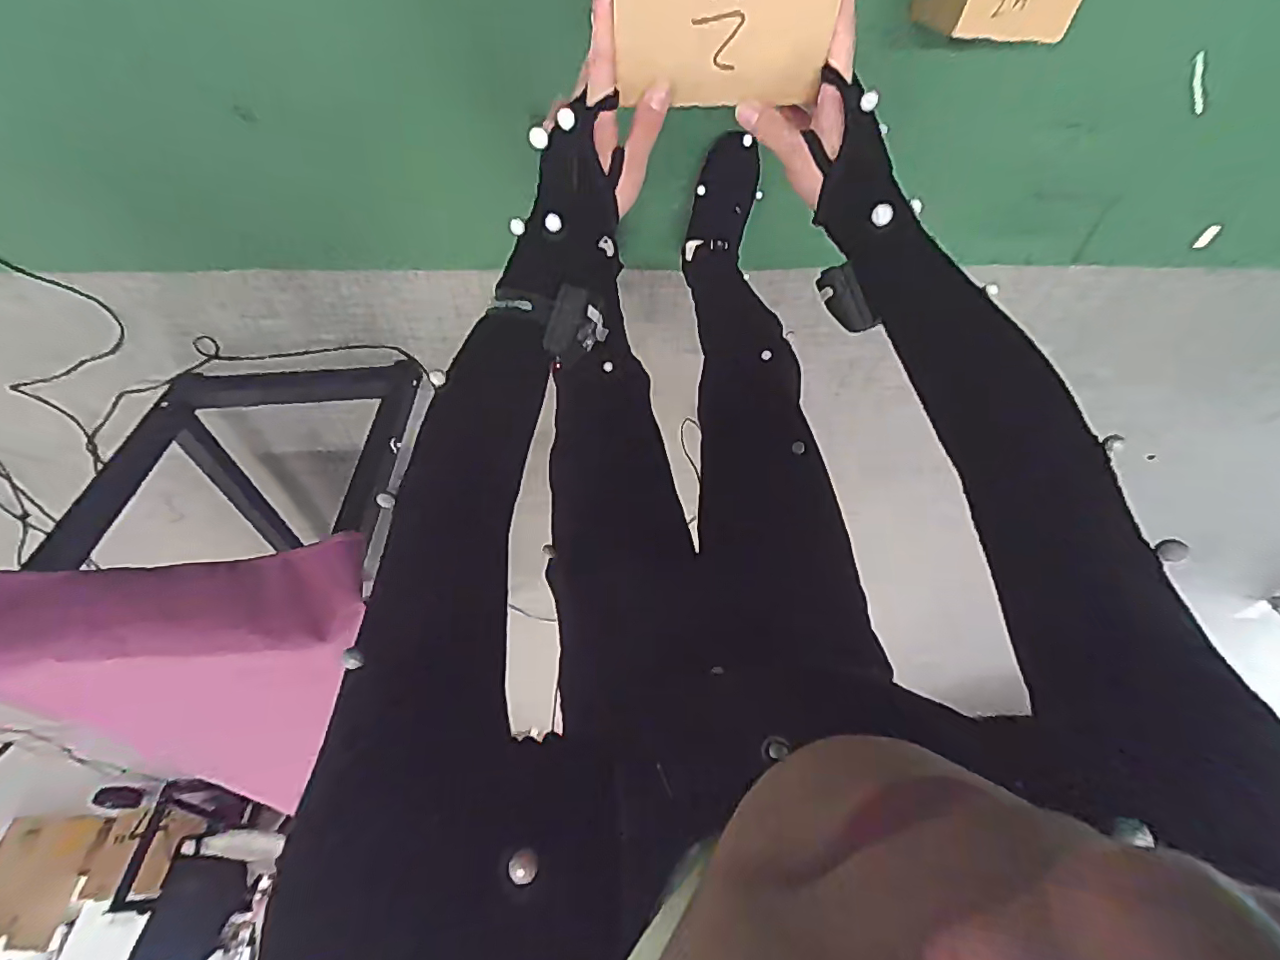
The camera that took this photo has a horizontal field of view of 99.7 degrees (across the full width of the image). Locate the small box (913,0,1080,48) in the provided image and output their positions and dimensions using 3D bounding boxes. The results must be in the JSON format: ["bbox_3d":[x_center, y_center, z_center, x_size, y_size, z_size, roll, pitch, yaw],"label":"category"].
[{"bbox_3d":[0.526,-0.748,0.772,0.168,0.176,0.179,-1,138,-5],"label":"small box"}]

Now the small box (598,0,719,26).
[{"bbox_3d":[0.025,-0.742,0.729,0.168,0.176,0.179,-1,137,-4],"label":"small box"}]
